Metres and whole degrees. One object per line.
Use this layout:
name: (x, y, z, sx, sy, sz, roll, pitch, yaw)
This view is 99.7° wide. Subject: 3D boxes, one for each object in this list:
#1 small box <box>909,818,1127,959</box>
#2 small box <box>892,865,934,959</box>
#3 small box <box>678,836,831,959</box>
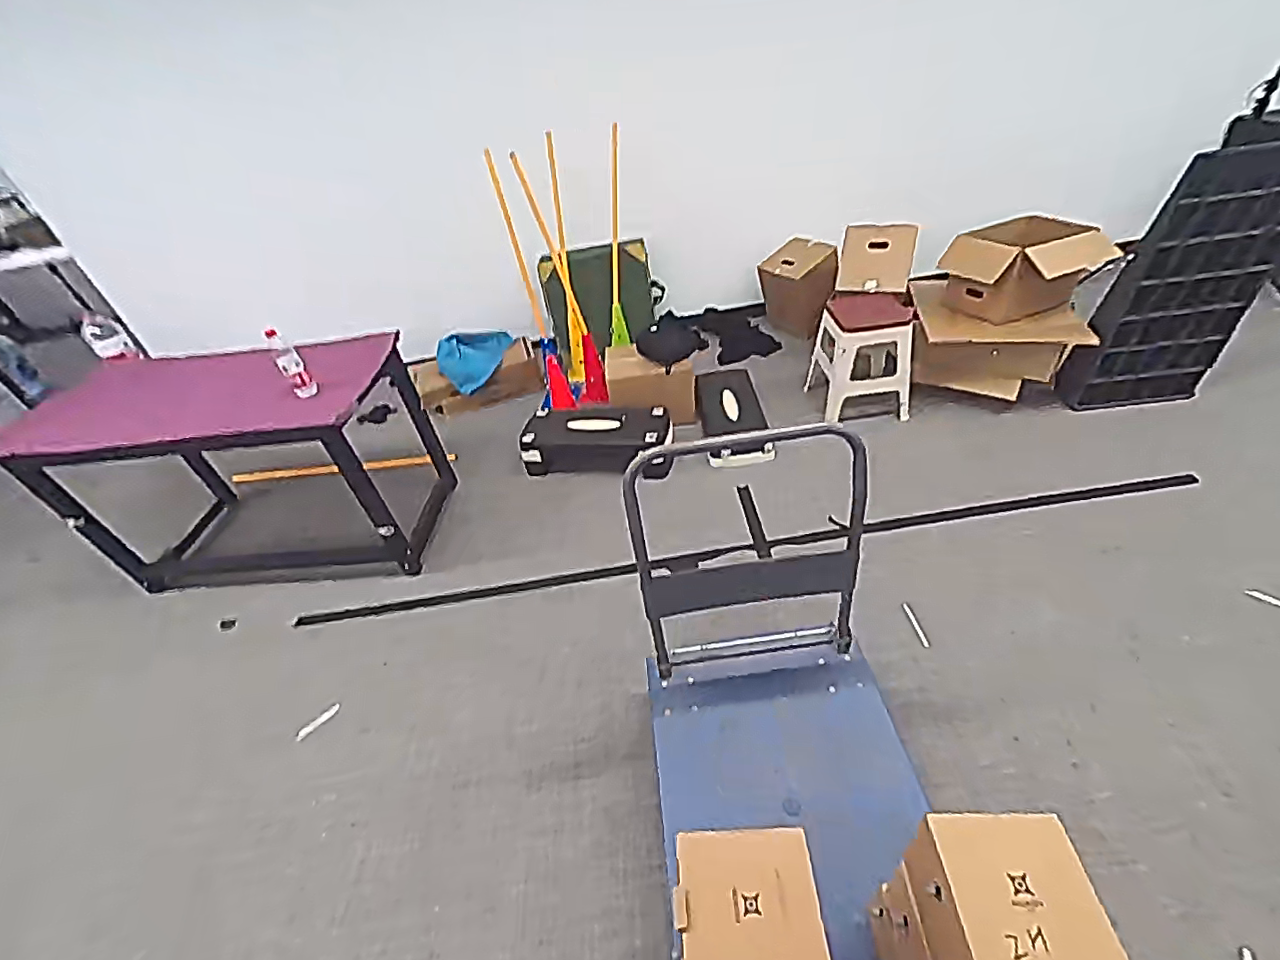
small box: (0.469, 0.564, 0.697, 0.168, 0.176, 0.179, -4, 40, 7)
small box: (0.490, 0.692, 0.799, 0.179, 0.176, 0.168, -4, 39, 5)
small box: (0.148, 0.599, 0.723, 0.179, 0.176, 0.168, -5, 41, 4)
